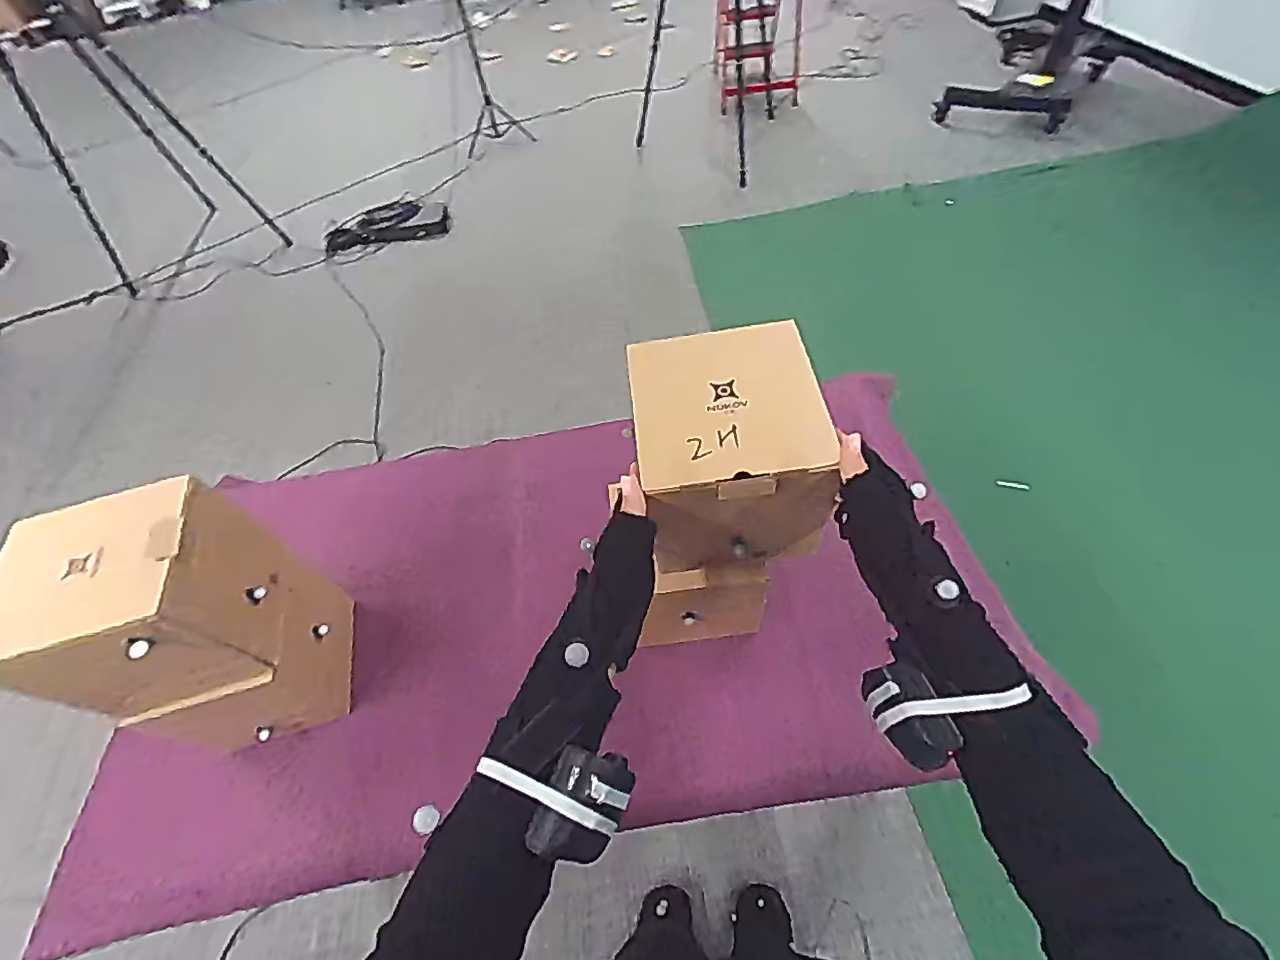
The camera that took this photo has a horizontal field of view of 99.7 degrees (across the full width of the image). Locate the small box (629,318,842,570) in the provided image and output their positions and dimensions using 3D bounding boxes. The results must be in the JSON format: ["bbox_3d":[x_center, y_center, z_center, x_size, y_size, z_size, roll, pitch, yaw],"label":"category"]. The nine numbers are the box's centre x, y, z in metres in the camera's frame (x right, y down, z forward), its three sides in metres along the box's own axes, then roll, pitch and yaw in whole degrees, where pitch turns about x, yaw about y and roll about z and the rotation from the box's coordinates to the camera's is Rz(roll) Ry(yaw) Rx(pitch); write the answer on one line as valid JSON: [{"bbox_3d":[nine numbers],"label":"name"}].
[{"bbox_3d":[0.084,-0.030,0.541,0.168,0.176,0.179,-8,57,5],"label":"small box"}]

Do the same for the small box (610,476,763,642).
[{"bbox_3d":[0.057,0.105,0.722,0.179,0.176,0.168,-6,52,3],"label":"small box"}]

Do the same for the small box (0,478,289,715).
[{"bbox_3d":[-0.520,0.130,0.578,0.179,0.176,0.168,-17,54,-6],"label":"small box"}]
